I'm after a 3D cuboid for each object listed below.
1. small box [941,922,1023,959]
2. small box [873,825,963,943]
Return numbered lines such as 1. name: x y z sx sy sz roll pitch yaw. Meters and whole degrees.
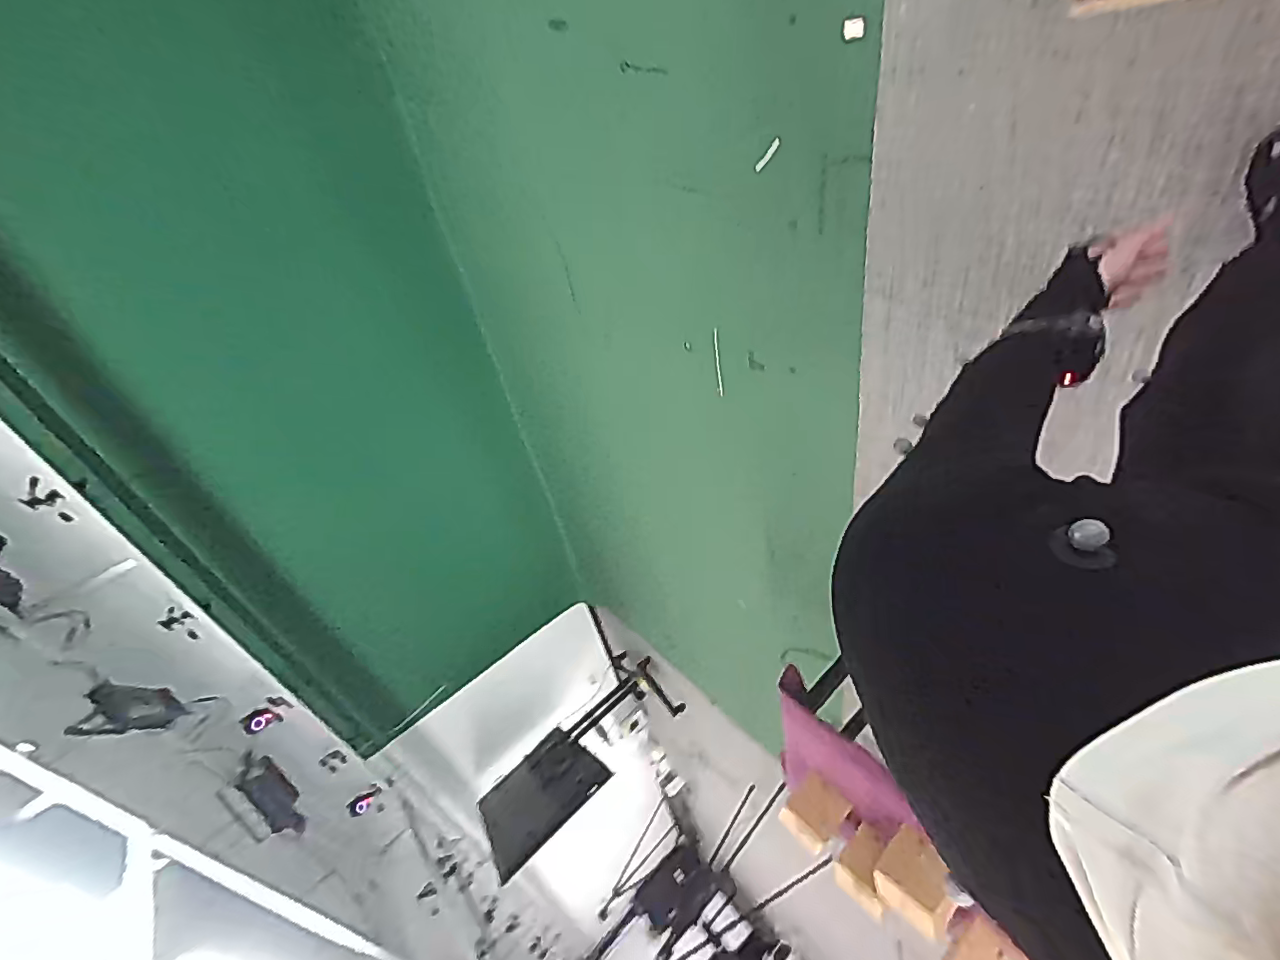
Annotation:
1. small box: 0.966 1.385 1.513 0.179 0.176 0.168 36 148 37
2. small box: 0.786 1.130 1.522 0.168 0.176 0.179 21 139 50
